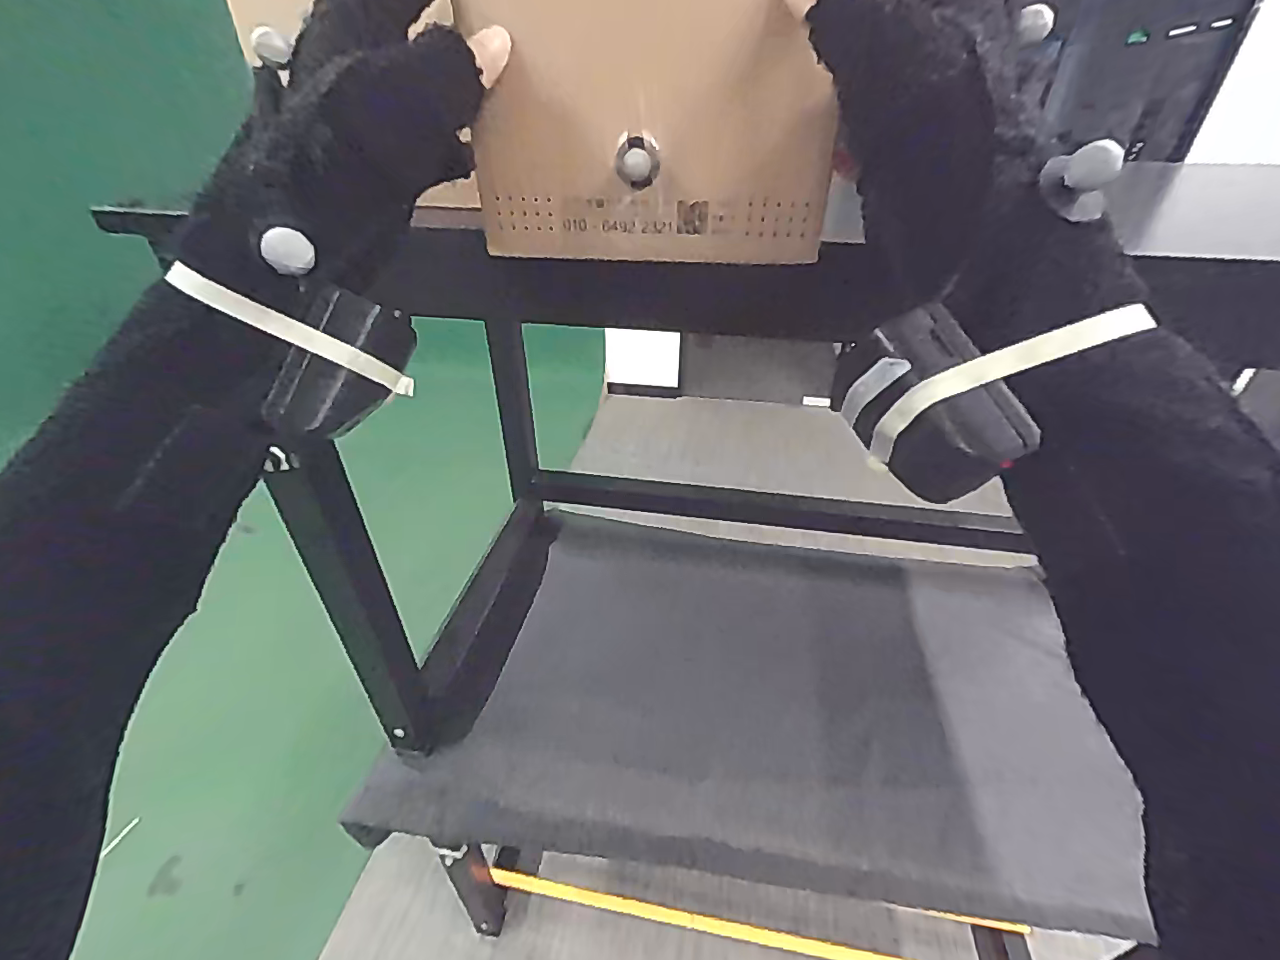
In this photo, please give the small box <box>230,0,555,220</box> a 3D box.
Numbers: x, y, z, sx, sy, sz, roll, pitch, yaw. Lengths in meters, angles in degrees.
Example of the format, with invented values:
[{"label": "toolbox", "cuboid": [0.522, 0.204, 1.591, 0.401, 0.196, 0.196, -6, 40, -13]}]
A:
[{"label": "small box", "cuboid": [-0.172, -0.312, 0.432, 0.168, 0.176, 0.179, 6, 34, 8]}]
